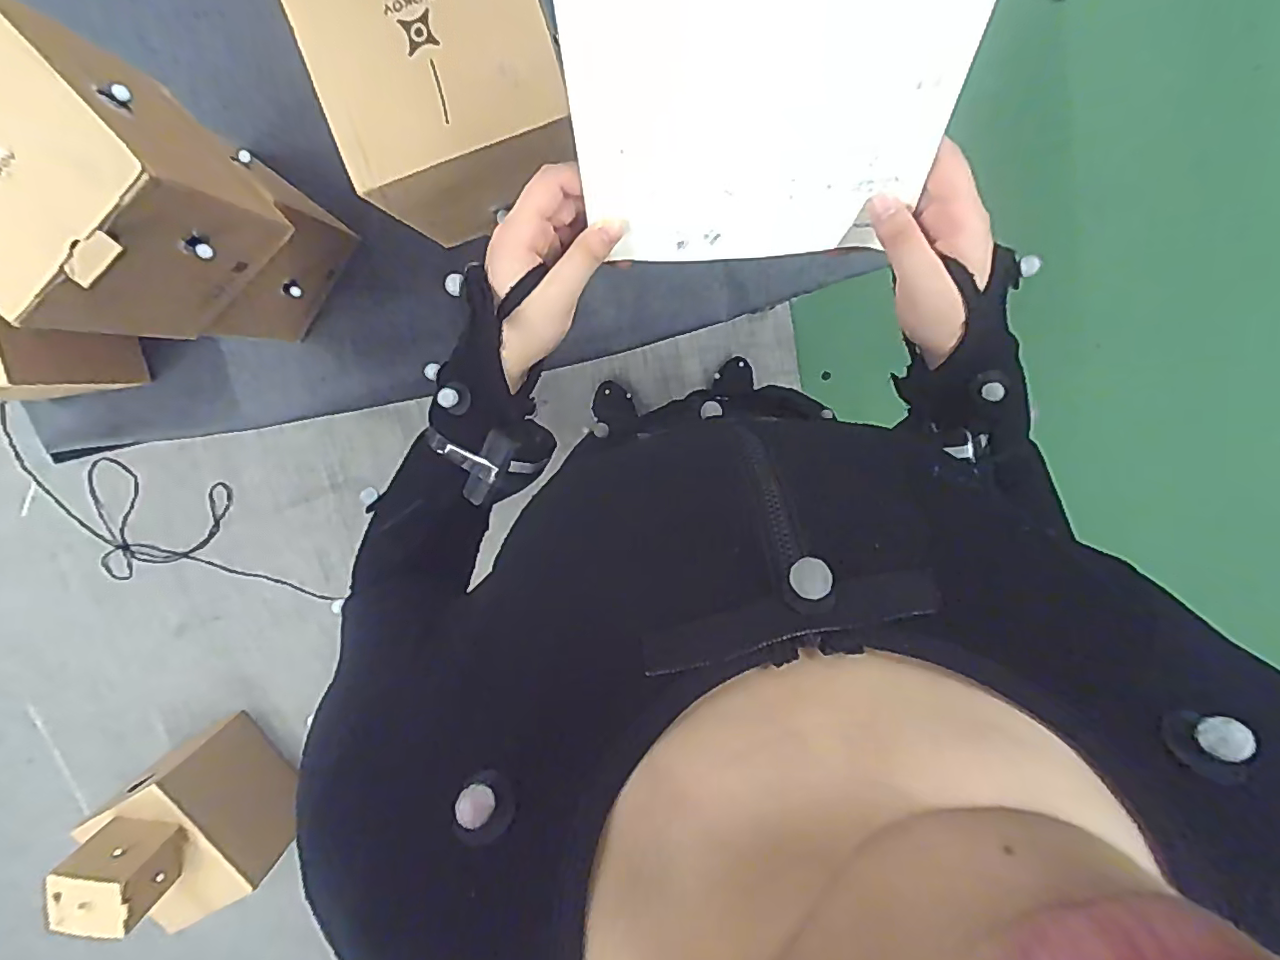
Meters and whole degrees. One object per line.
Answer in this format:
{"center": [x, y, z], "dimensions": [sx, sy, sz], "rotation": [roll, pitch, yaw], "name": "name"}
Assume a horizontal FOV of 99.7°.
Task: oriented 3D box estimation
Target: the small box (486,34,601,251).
{"center": [-0.149, -0.366, 0.591], "dimensions": [0.179, 0.176, 0.168], "rotation": [17, 102, -1], "name": "small box"}

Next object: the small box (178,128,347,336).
{"center": [-0.481, -0.282, 0.616], "dimensions": [0.179, 0.176, 0.168], "rotation": [37, 100, -6], "name": "small box"}

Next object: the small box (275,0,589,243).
{"center": [-0.149, -0.318, 0.433], "dimensions": [0.168, 0.176, 0.179], "rotation": [-16, 101, 6], "name": "small box"}

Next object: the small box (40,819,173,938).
{"center": [-1.306, 0.979, 1.338], "dimensions": [0.179, 0.176, 0.168], "rotation": [9, 102, -3], "name": "small box"}

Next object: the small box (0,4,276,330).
{"center": [-0.467, -0.245, 0.457], "dimensions": [0.168, 0.176, 0.179], "rotation": [-40, 97, 8], "name": "small box"}
